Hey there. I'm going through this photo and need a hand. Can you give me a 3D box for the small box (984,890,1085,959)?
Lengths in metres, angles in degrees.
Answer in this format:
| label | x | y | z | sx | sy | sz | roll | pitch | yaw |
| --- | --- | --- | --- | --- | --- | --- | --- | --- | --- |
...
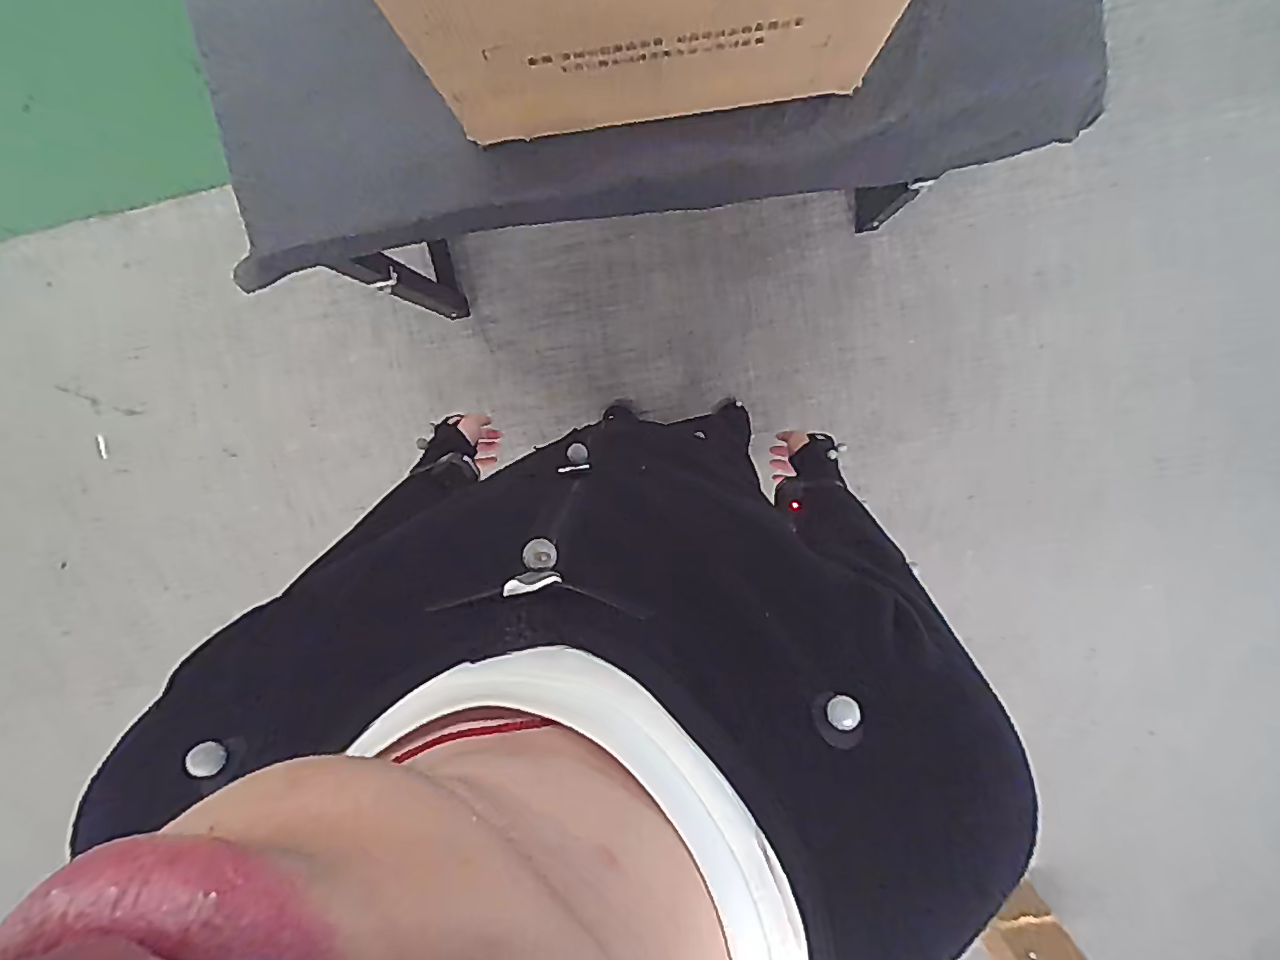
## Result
| label | x | y | z | sx | sy | sz | roll | pitch | yaw |
| --- | --- | --- | --- | --- | --- | --- | --- | --- | --- |
| small box | 1.090 | 1.296 | 1.505 | 0.179 | 0.176 | 0.168 | -12 | 100 | 0 |
